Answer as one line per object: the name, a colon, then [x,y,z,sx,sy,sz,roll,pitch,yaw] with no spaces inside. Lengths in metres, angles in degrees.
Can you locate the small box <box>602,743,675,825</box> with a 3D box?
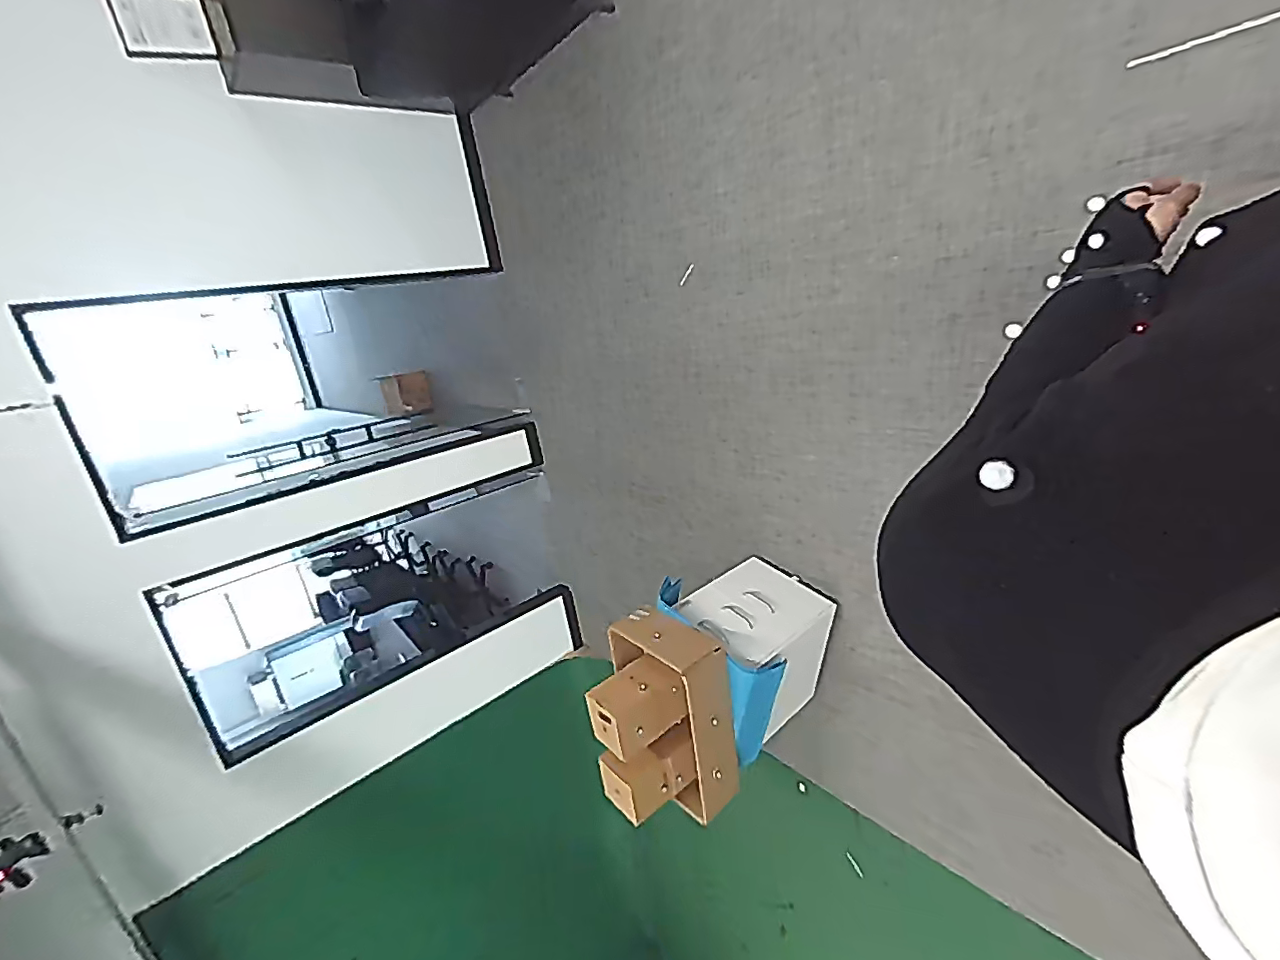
small box: [-0.004,0.991,1.809,0.179,0.176,0.168,14,117,50]

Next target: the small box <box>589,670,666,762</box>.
small box: [-0.037,0.742,1.724,0.168,0.176,0.179,14,119,51]

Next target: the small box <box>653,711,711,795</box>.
small box: [0.126,0.945,1.897,0.179,0.176,0.168,15,118,51]
